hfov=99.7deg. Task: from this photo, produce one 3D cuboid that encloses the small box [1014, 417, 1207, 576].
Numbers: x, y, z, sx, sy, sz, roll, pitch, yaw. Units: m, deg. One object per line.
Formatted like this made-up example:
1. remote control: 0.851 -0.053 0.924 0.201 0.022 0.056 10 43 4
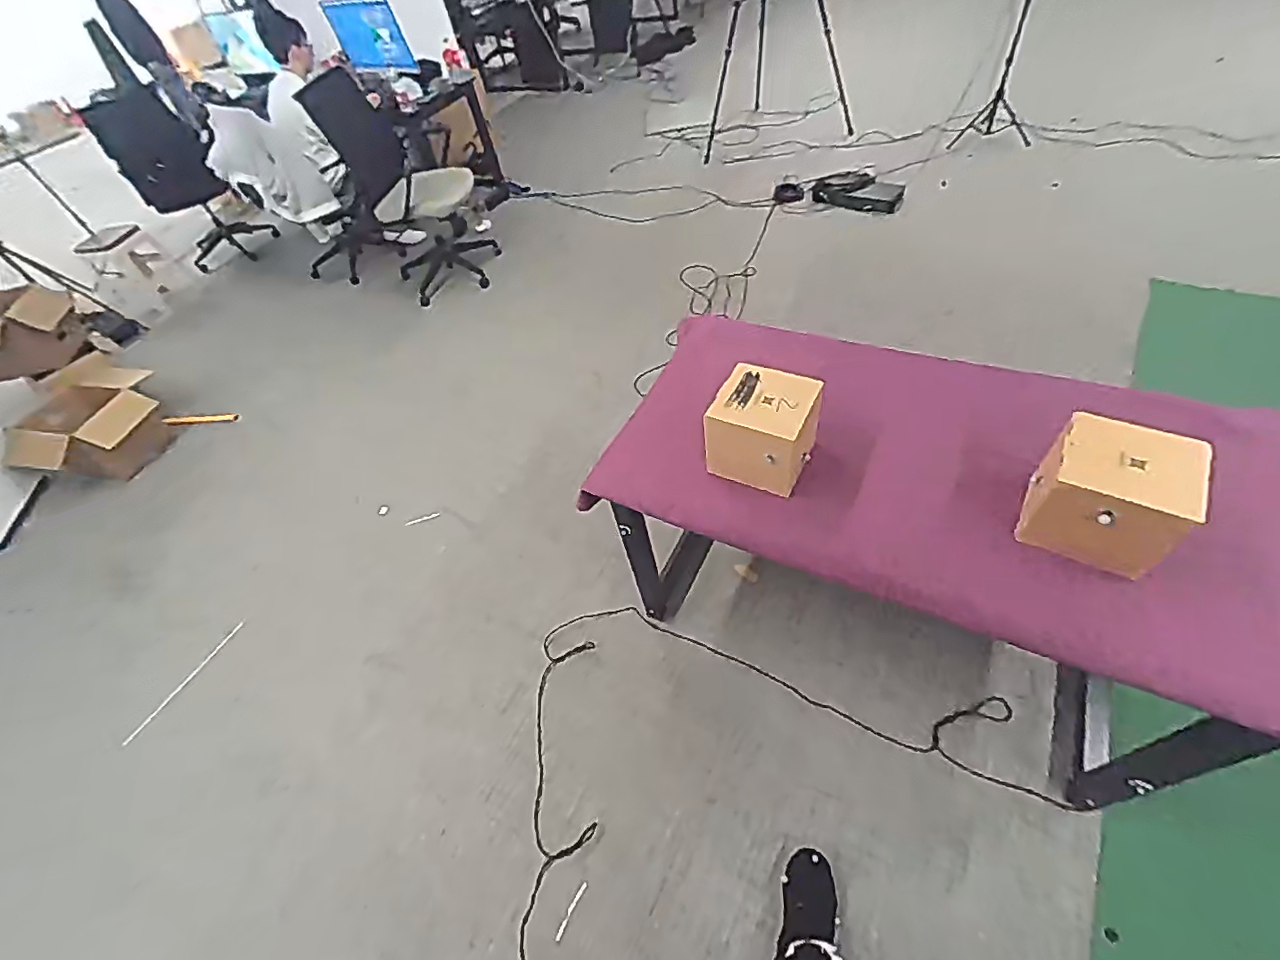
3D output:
1. small box: 0.753 0.032 0.880 0.179 0.176 0.168 23 59 27
